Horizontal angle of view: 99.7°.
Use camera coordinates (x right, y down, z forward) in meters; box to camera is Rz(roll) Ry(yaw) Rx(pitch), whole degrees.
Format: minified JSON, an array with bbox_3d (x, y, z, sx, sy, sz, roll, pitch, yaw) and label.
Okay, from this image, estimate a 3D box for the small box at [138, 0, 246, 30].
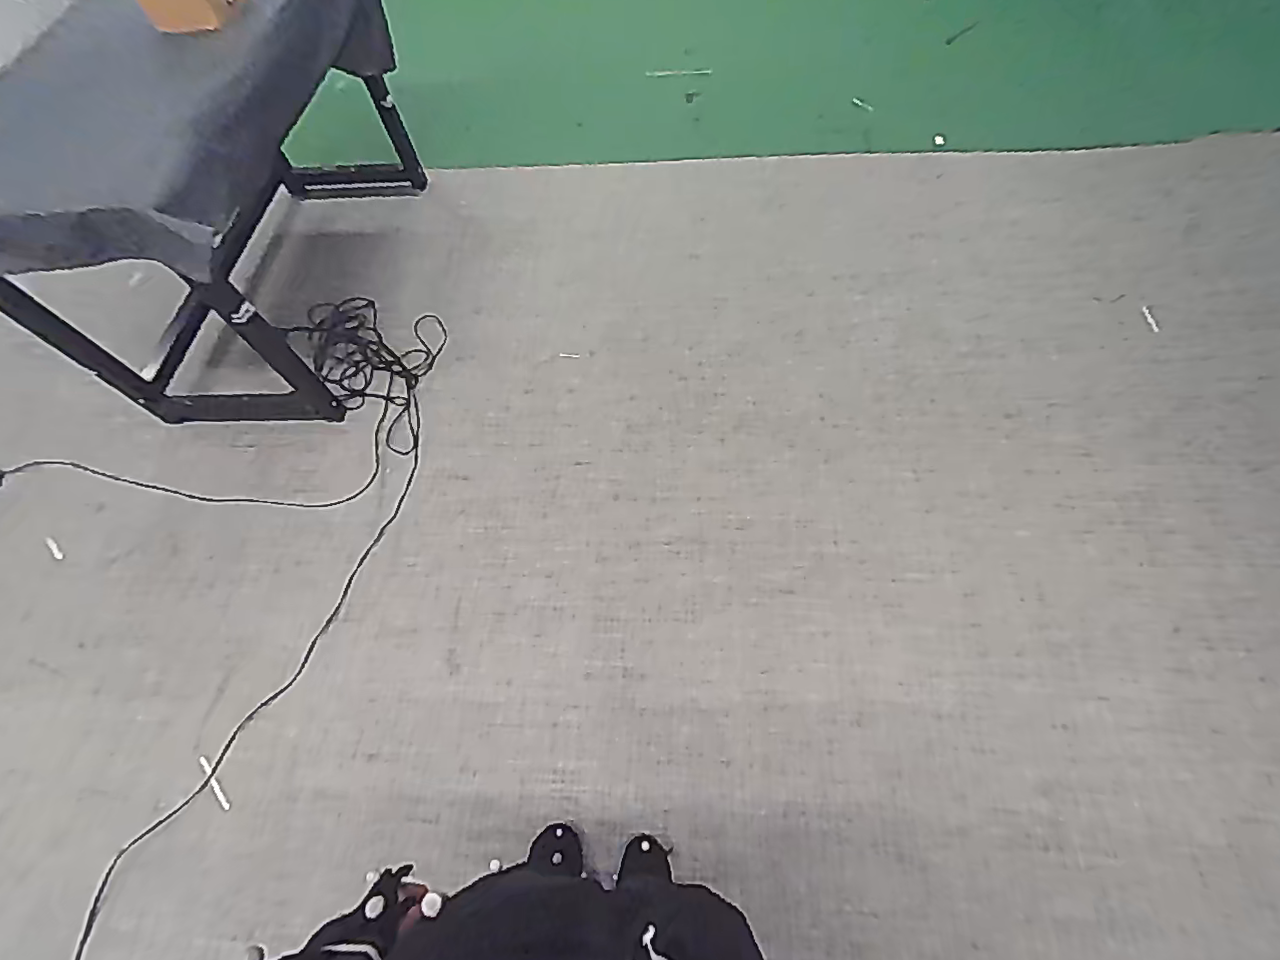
[{"bbox_3d":[-1.094,-1.198,1.275,0.179,0.176,0.168,1,64,4],"label":"small box"}]
